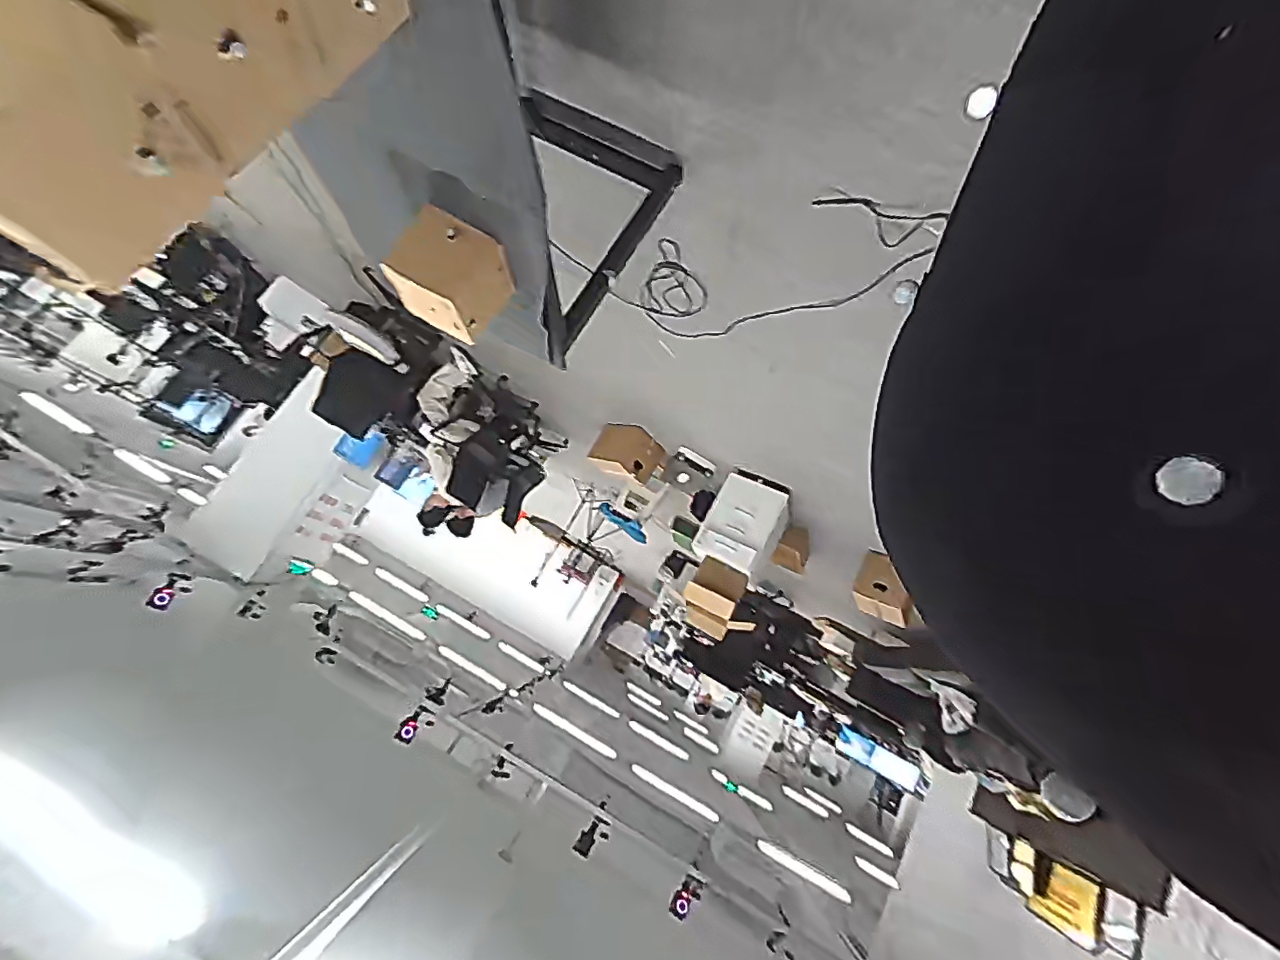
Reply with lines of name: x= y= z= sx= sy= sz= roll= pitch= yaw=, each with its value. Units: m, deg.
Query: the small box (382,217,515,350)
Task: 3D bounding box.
small box: x=-0.393 y=-0.416 z=1.141 sx=0.179 sy=0.176 sz=0.168 roll=30 pitch=165 yaw=6

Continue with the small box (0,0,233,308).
small box: x=-0.521 y=-0.295 z=0.470 sx=0.179 sy=0.176 sz=0.168 roll=32 pitch=165 yaw=-3

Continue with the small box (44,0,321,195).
small box: x=-0.444 y=-0.432 z=0.519 sx=0.179 sy=0.176 sz=0.168 roll=35 pitch=164 yaw=-8
